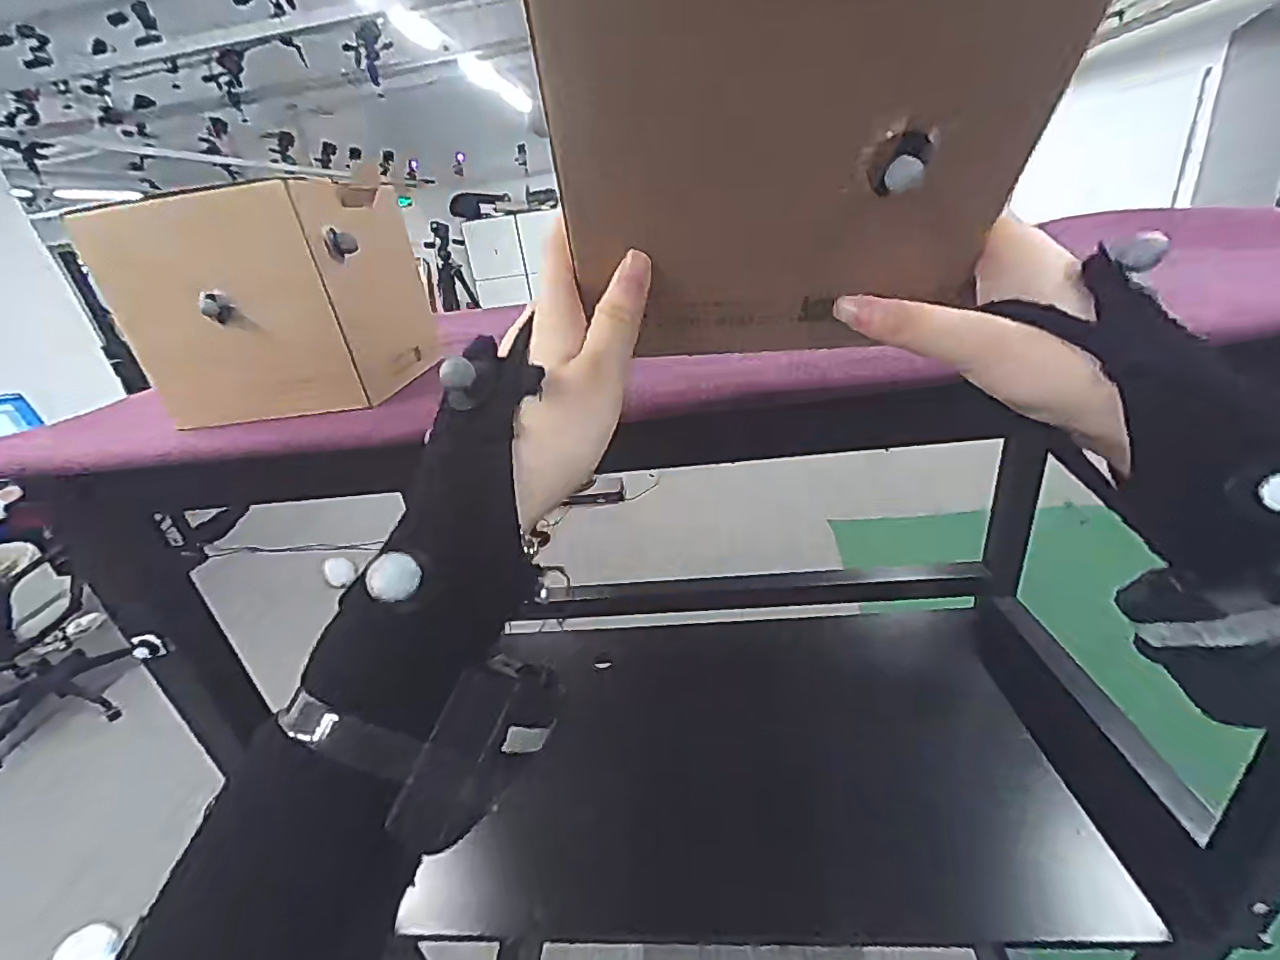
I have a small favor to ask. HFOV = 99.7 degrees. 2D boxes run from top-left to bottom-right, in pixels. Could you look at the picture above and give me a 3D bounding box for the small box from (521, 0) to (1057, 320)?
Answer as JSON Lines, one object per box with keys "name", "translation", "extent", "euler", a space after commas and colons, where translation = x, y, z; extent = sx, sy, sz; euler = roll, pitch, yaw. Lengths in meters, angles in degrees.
{"name": "small box", "translation": [0.049, -0.185, 0.234], "extent": [0.168, 0.176, 0.179], "euler": [-2, 57, 2]}
